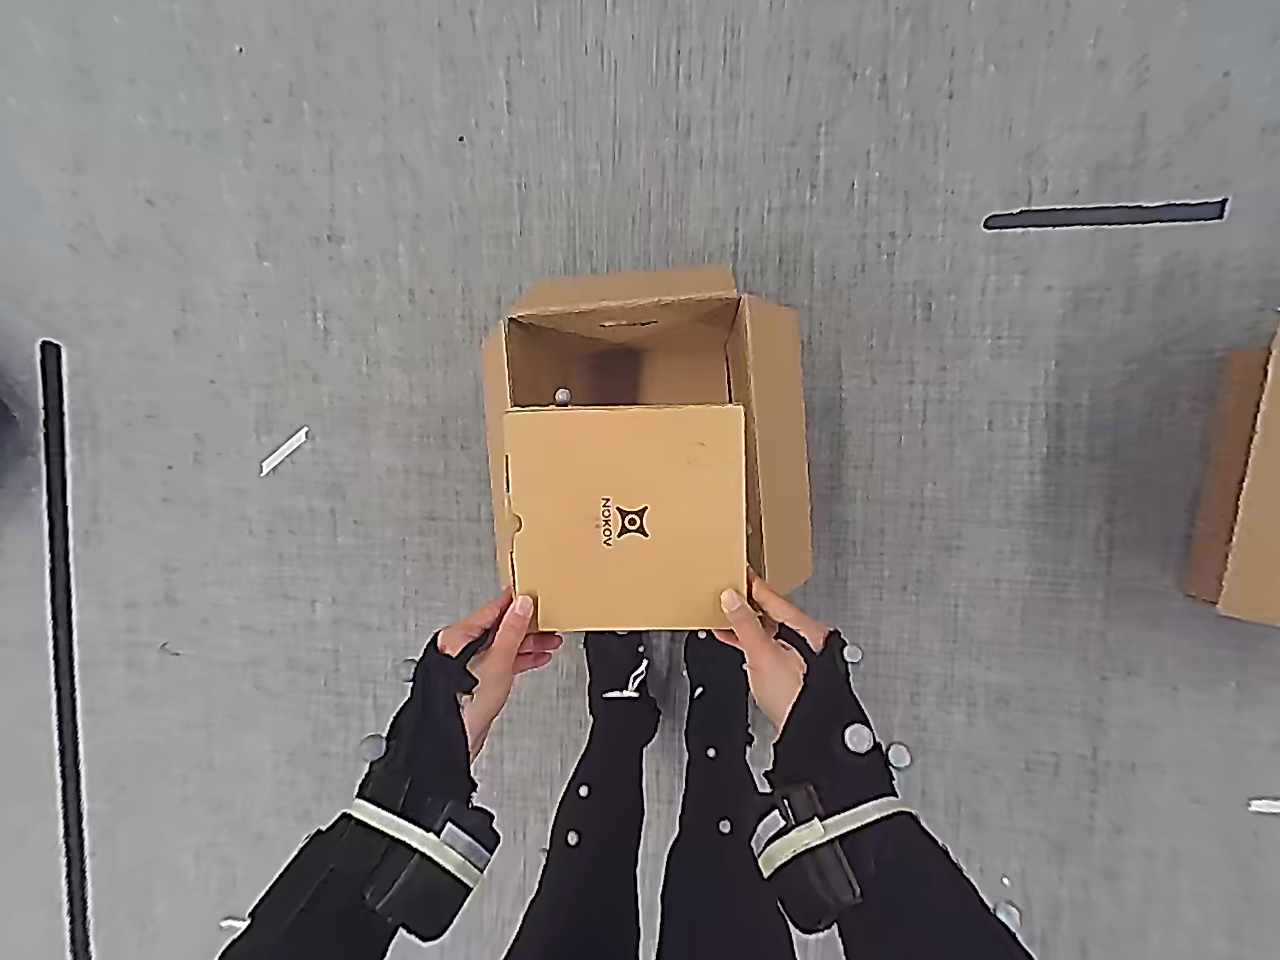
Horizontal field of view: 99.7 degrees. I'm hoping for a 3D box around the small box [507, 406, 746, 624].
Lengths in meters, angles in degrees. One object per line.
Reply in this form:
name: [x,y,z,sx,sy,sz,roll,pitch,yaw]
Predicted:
small box: [-0.006,0.018,0.479,0.179,0.176,0.168,-2,96,3]
